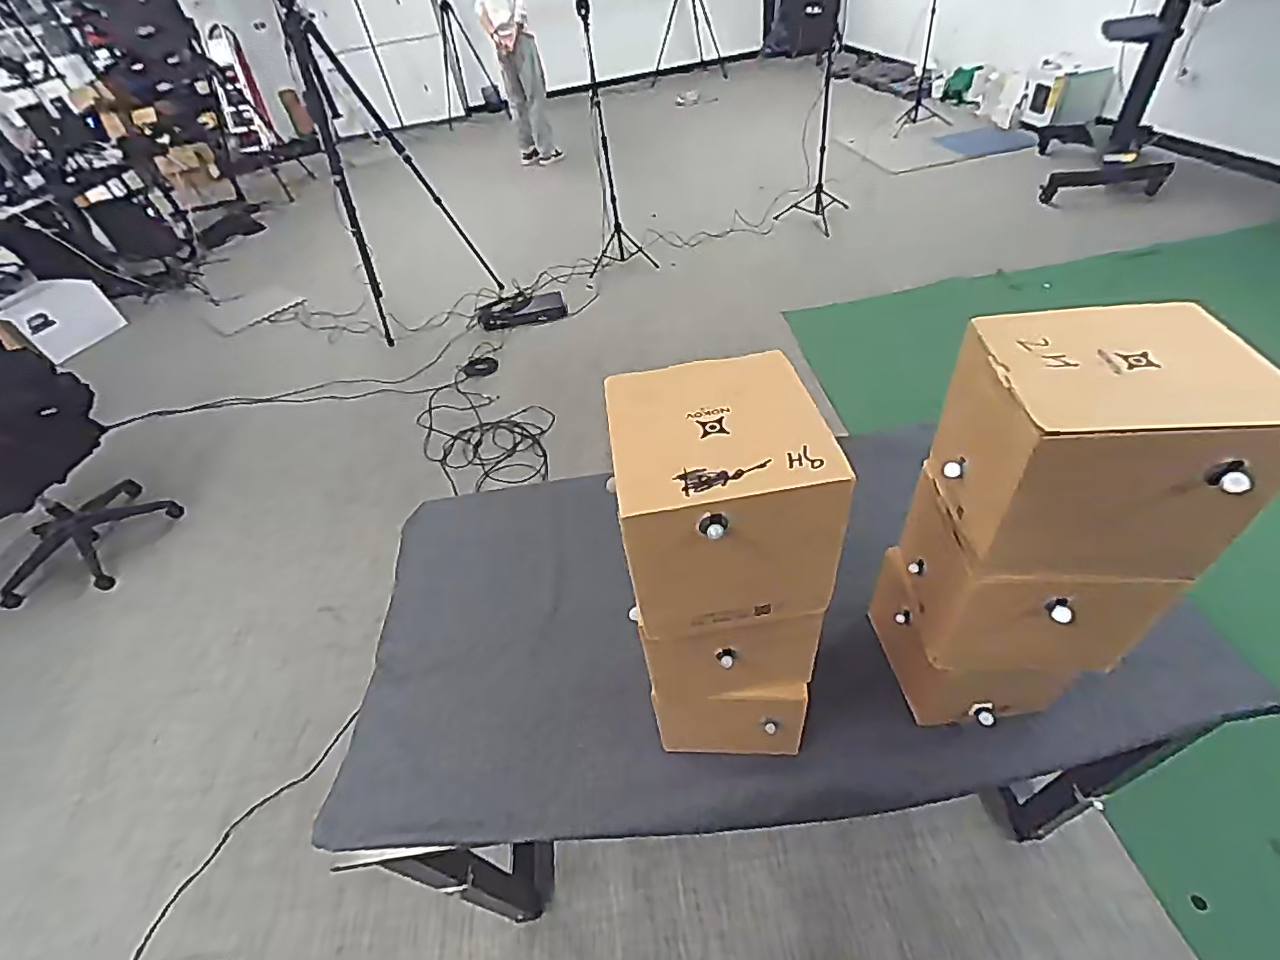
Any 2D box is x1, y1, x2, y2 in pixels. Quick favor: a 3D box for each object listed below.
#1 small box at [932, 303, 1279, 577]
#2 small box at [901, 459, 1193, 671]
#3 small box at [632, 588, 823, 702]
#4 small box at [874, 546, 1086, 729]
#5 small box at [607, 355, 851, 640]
[{"bbox_3d":[0.380,-0.030,0.466,0.179,0.176,0.168,-2,44,12],"label":"small box"},{"bbox_3d":[0.401,0.089,0.578,0.179,0.176,0.168,-3,44,11],"label":"small box"},{"bbox_3d":[0.086,0.125,0.602,0.179,0.176,0.168,-10,43,2],"label":"small box"},{"bbox_3d":[0.424,0.194,0.700,0.168,0.176,0.179,-10,44,3],"label":"small box"},{"bbox_3d":[0.066,0.014,0.483,0.168,0.176,0.179,-10,43,1],"label":"small box"}]
